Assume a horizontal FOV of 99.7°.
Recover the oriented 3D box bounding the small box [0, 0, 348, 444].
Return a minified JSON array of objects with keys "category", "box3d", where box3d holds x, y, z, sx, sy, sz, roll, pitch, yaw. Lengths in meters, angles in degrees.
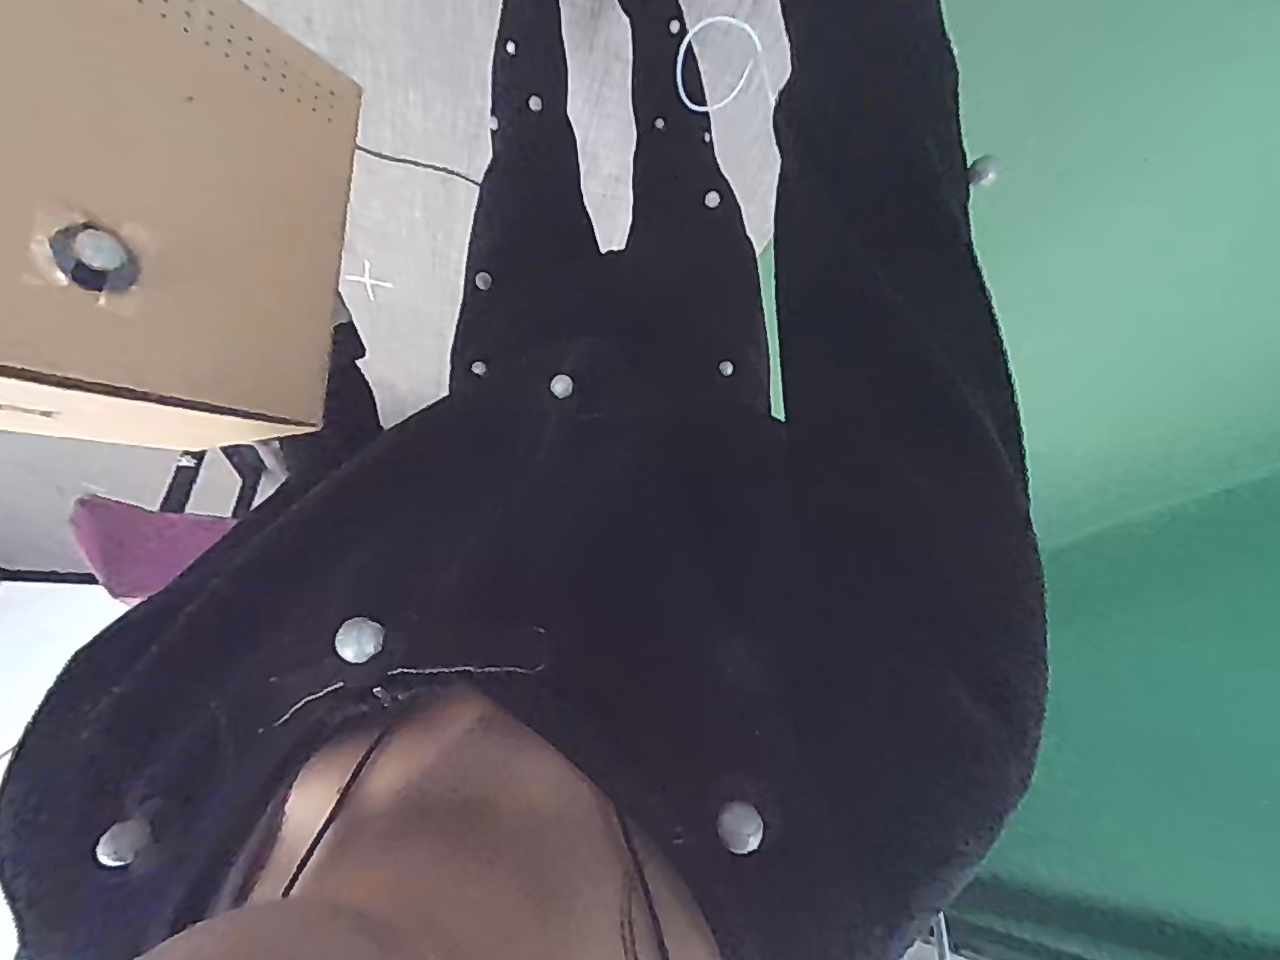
[{"category":"small box","box3d":[-0.246,-0.116,0.215,0.168,0.176,0.179,-3,170,34]}]
